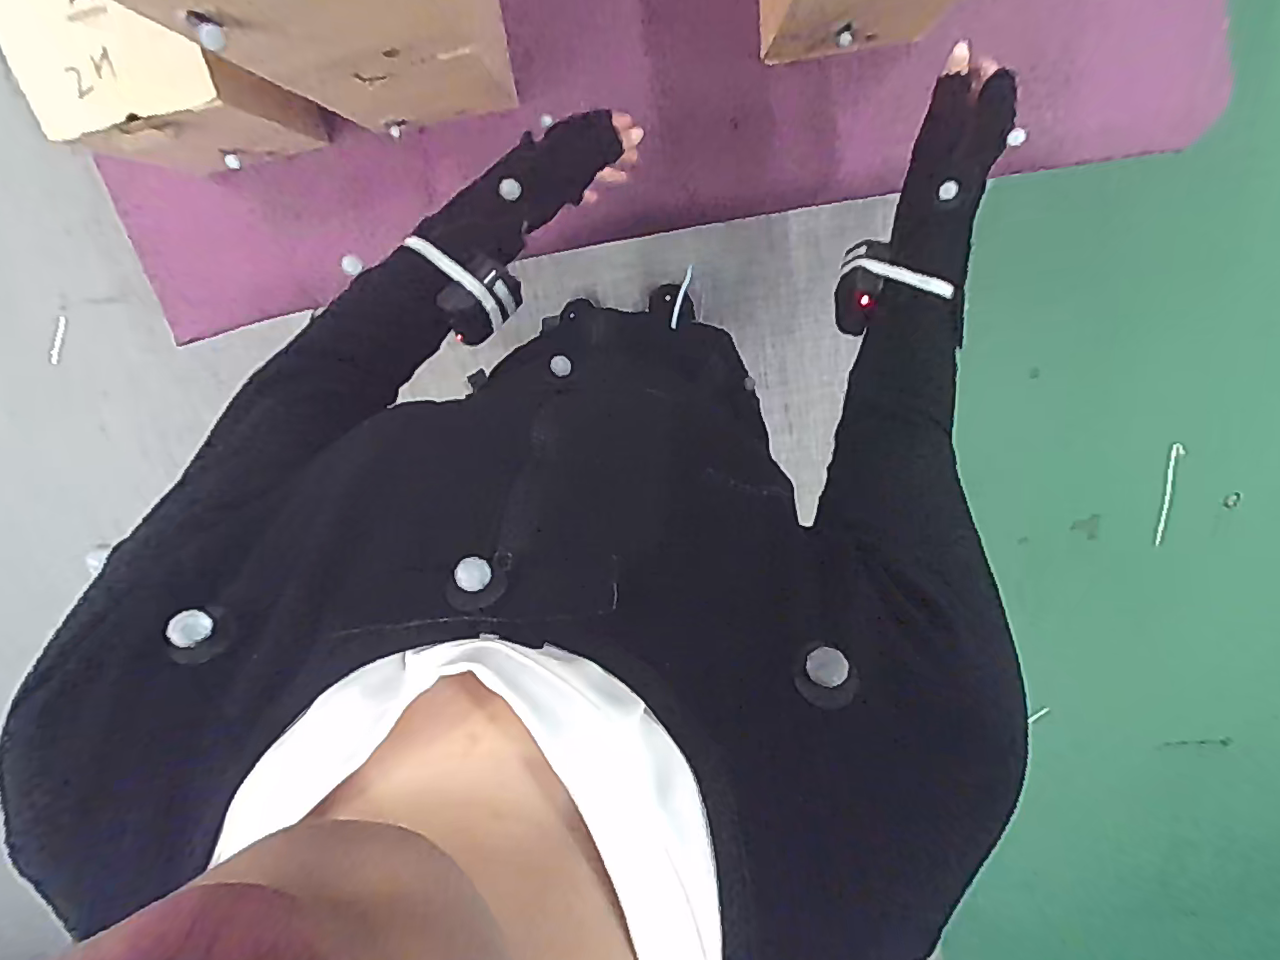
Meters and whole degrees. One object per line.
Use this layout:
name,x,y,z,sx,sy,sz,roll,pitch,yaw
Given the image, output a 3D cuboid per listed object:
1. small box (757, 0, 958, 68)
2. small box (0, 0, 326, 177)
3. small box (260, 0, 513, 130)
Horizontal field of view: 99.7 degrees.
small box,0.195,-0.502,0.470,0.168,0.176,0.179,-7,110,4
small box,-0.447,-0.414,0.517,0.168,0.176,0.179,-9,110,5
small box,-0.229,-0.448,0.501,0.168,0.176,0.179,-7,109,4
